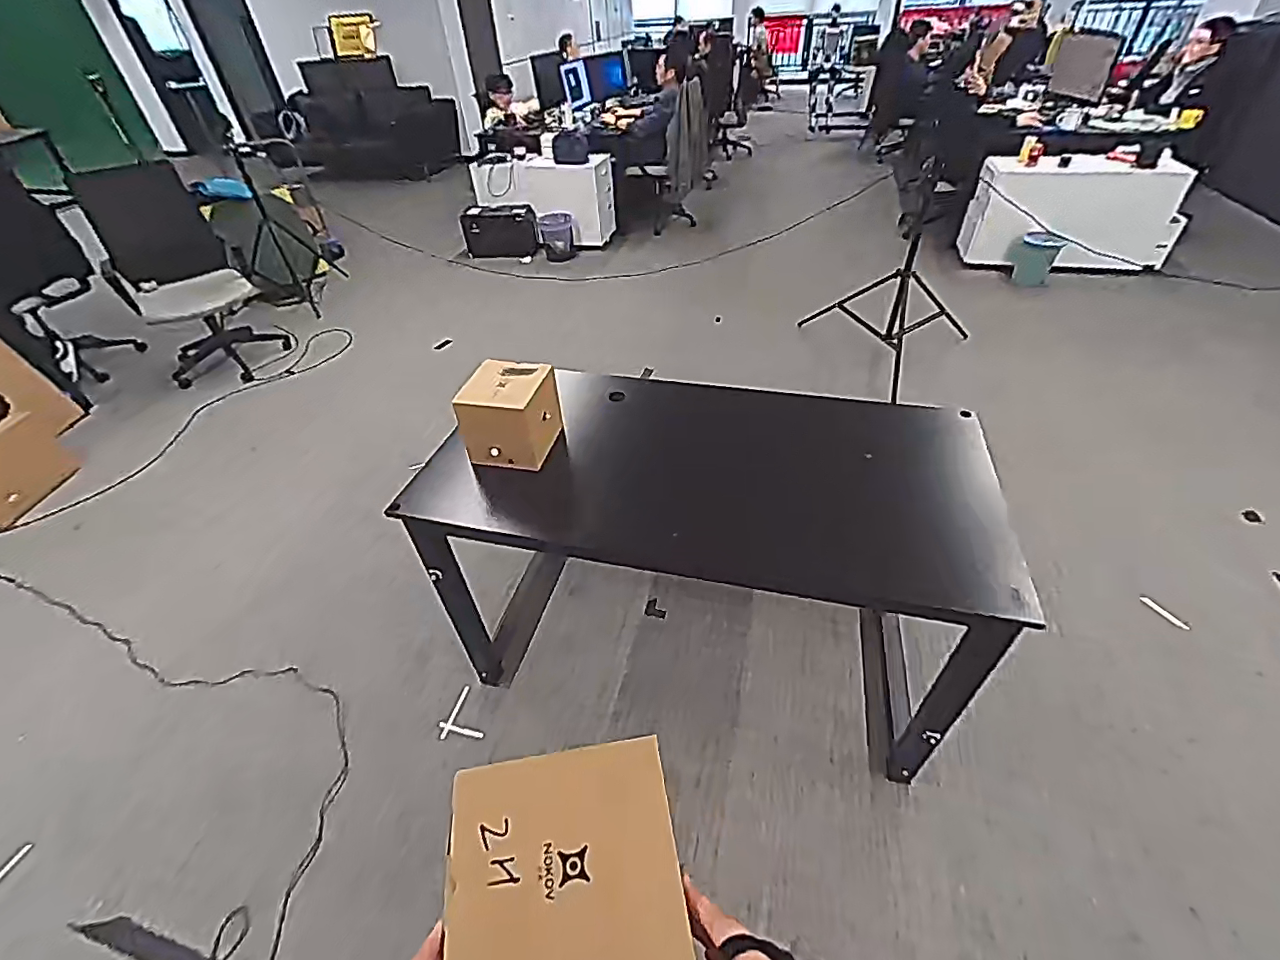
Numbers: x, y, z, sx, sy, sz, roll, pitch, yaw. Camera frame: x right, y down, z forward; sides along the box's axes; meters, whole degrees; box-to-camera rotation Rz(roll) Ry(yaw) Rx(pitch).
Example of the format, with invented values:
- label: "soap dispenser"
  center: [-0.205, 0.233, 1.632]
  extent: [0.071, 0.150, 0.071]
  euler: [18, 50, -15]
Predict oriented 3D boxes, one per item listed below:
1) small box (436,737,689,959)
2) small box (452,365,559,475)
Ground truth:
- label: "small box"
  center: [-0.062, 0.349, 0.470]
  extent: [0.179, 0.176, 0.168]
  euler: [-8, 45, -5]
- label: "small box"
  center: [-0.290, -0.137, 1.212]
  extent: [0.168, 0.176, 0.179]
  euler: [6, 43, 11]
